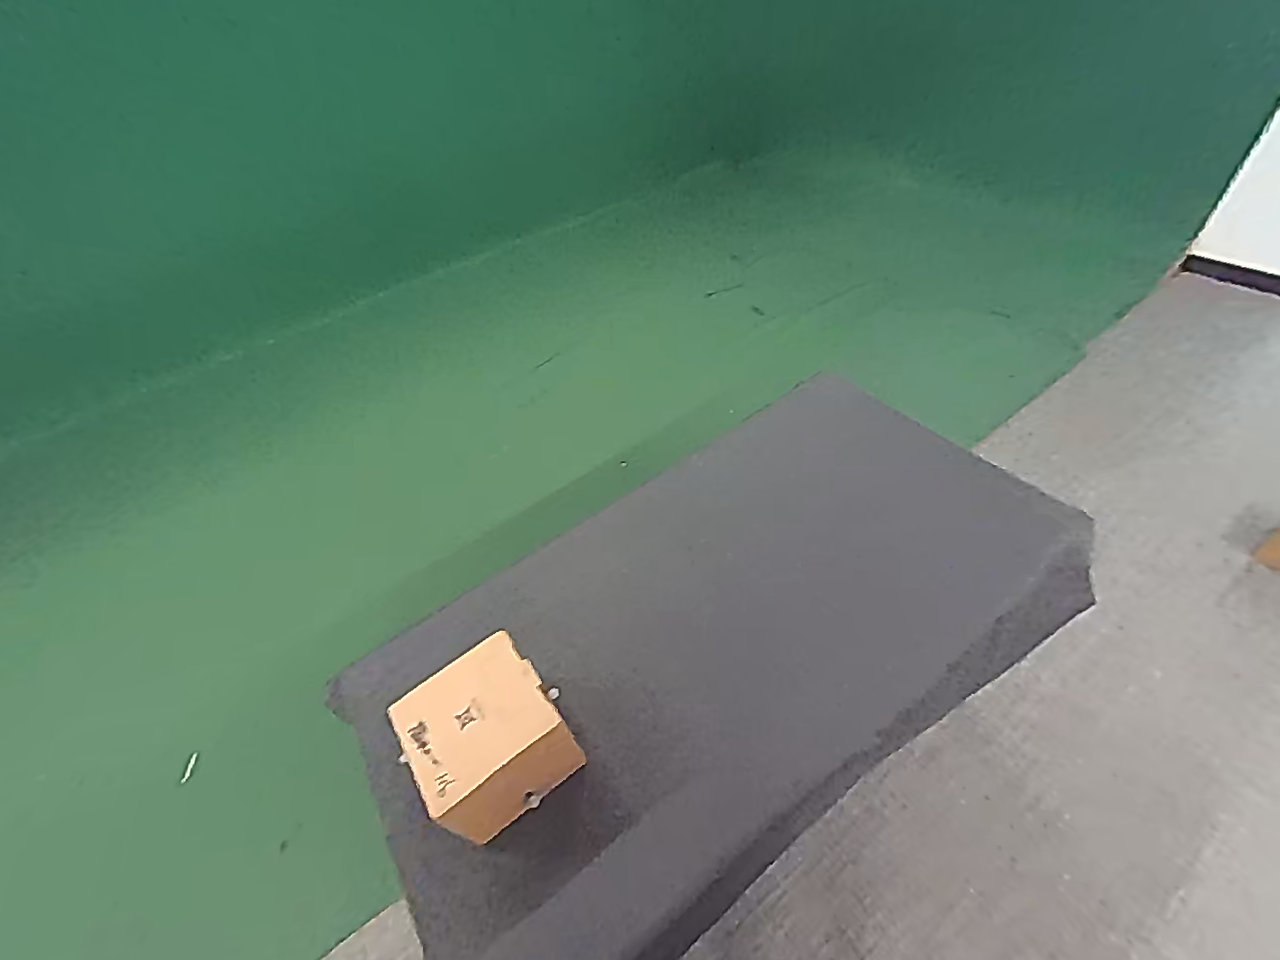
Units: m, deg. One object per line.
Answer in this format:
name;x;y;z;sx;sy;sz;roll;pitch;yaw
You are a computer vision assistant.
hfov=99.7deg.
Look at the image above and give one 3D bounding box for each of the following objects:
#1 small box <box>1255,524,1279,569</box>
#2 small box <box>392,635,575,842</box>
small box;1.937;0.172;1.539;0.179;0.176;0.168;-30;48;-17
small box;-0.205;0.358;0.753;0.179;0.176;0.168;-32;51;-20
